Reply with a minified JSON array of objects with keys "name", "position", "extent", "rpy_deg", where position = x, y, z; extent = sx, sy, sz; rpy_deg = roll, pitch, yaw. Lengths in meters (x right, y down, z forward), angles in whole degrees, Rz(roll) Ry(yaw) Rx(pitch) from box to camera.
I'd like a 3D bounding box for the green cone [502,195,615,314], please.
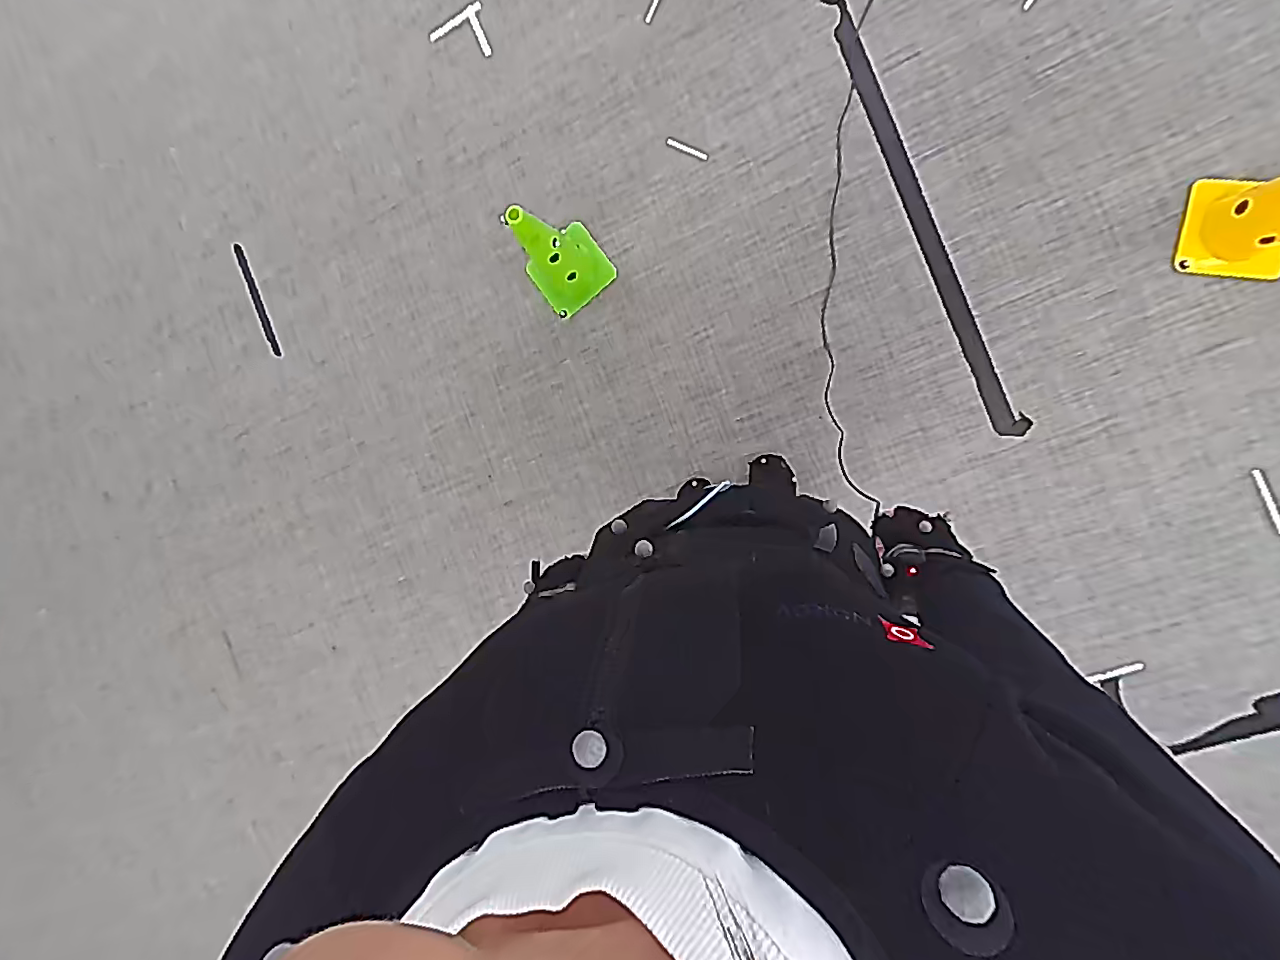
[{"name":"green cone","position":[-0.228,-0.580,1.309],"extent":[0.200,0.368,0.202],"rpy_deg":[-38,83,10]}]
